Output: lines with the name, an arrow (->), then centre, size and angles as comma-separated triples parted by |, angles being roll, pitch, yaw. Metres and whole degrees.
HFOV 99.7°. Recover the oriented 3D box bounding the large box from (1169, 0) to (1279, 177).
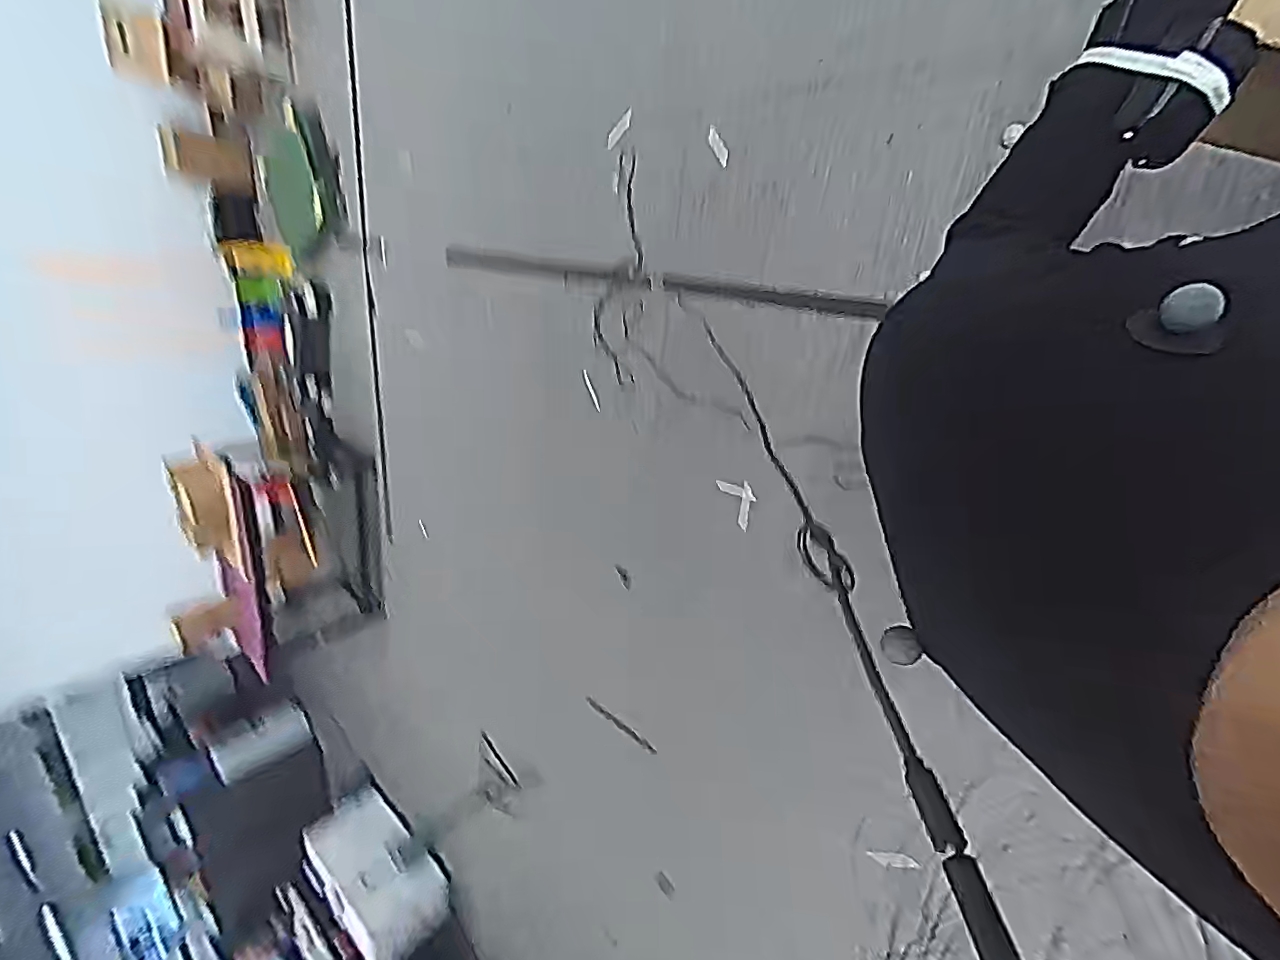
large box -> 0.636, -0.329, 0.290 | 0.408, 0.320, 0.320 | 36, 126, 27
